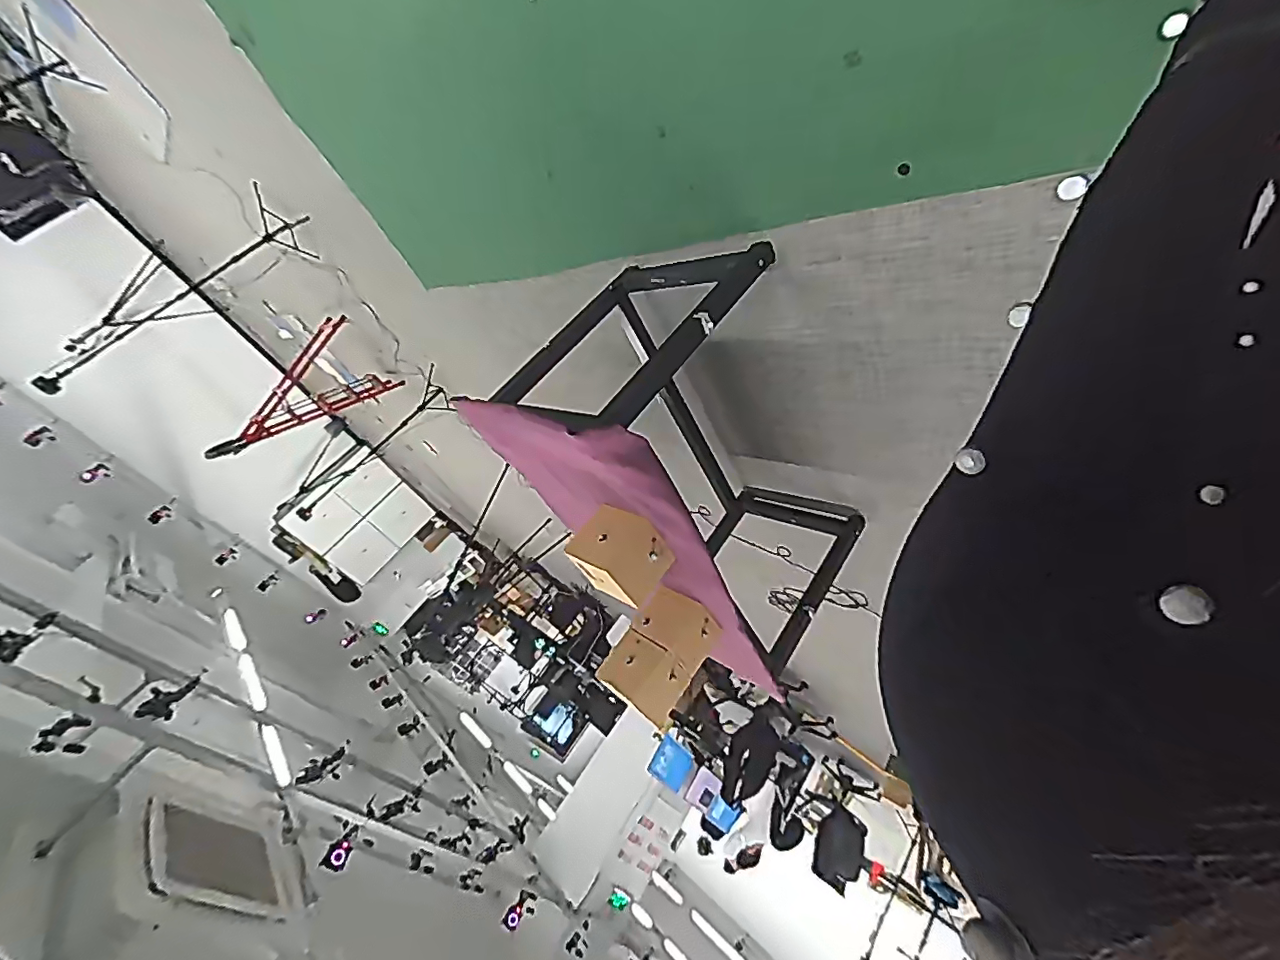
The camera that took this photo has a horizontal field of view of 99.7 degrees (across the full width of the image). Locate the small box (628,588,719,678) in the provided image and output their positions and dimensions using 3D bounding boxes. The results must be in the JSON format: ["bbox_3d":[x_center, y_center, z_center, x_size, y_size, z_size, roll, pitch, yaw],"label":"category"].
[{"bbox_3d":[0.103,0.447,1.610,0.179,0.176,0.168,16,149,48],"label":"small box"}]

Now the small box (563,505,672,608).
[{"bbox_3d":[-0.053,0.184,1.359,0.179,0.176,0.168,15,148,46],"label":"small box"}]

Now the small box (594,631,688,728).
[{"bbox_3d":[0.006,0.565,1.551,0.168,0.176,0.179,16,148,49],"label":"small box"}]
